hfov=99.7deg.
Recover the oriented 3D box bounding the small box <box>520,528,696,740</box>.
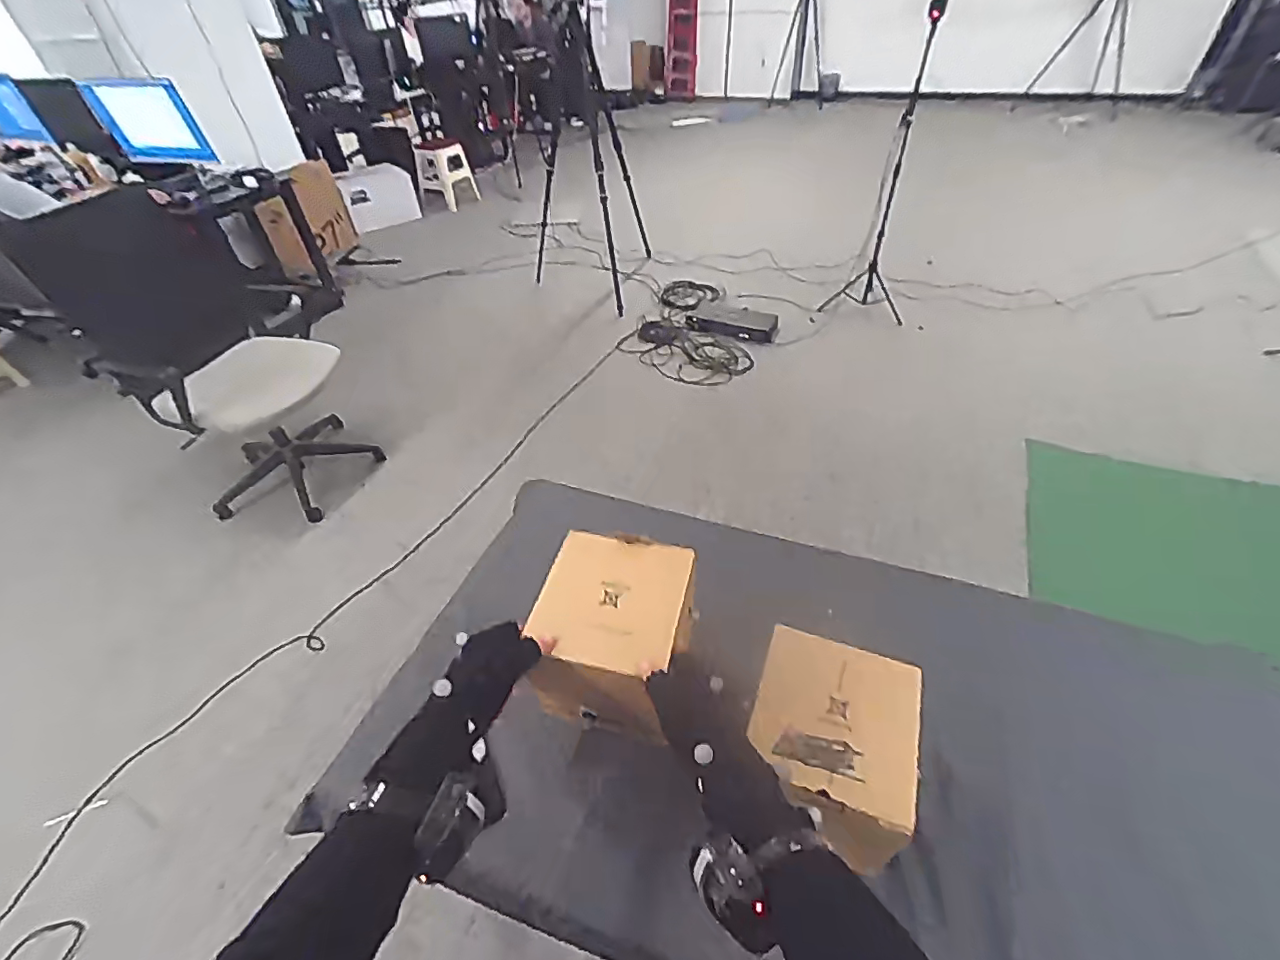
[{"bbox_3d":[-0.027,0.189,0.670,0.168,0.176,0.179,7,45,12],"label":"small box"}]

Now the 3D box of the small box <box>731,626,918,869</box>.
[{"bbox_3d":[0.207,0.309,0.628,0.168,0.176,0.179,14,45,18],"label":"small box"}]
